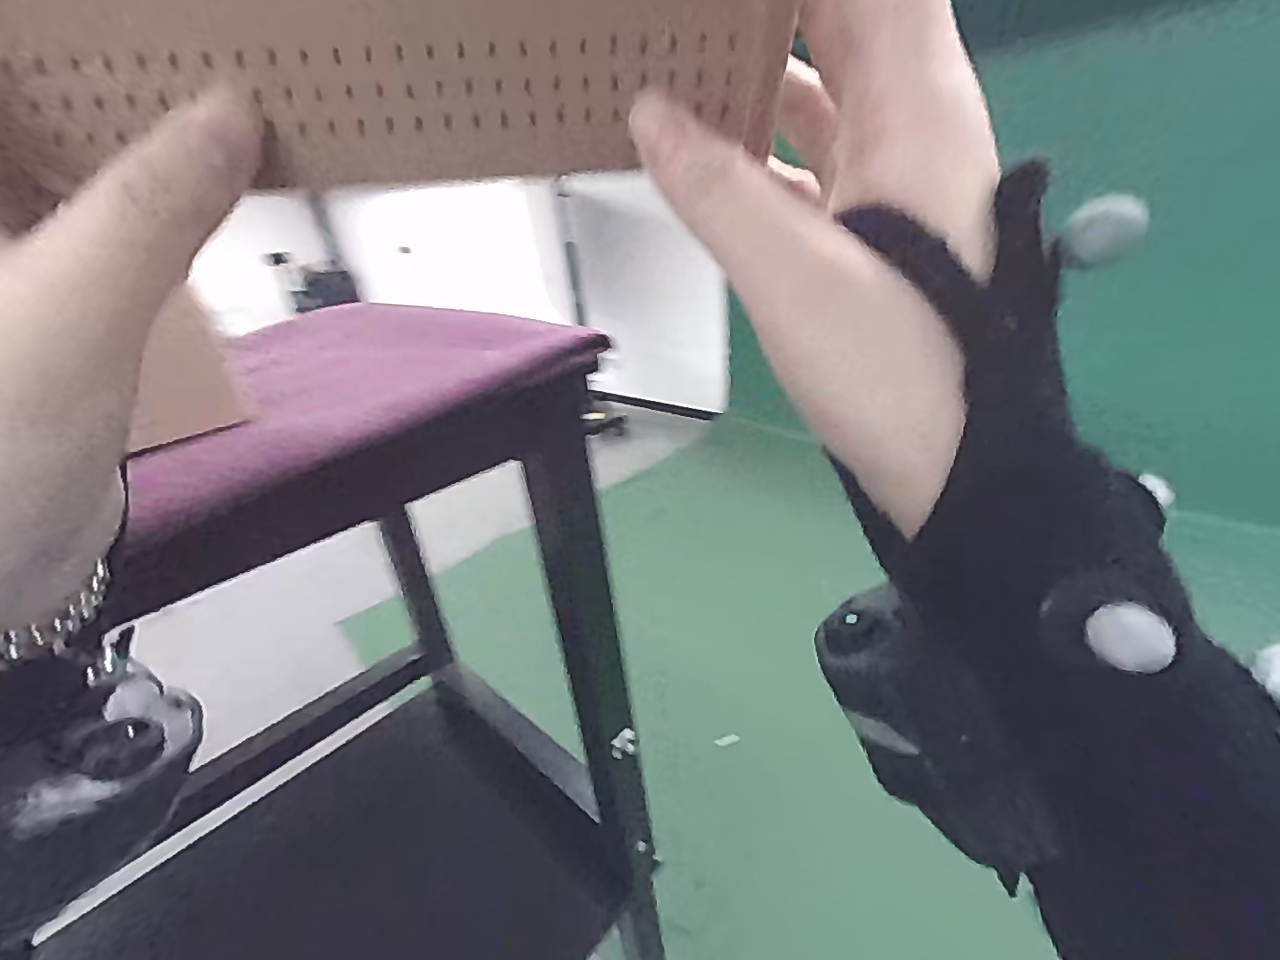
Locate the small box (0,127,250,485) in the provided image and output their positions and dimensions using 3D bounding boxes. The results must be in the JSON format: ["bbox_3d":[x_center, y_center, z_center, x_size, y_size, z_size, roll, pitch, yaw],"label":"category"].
[{"bbox_3d":[-0.387,-0.099,0.333,0.168,0.176,0.179,16,34,43],"label":"small box"}]
